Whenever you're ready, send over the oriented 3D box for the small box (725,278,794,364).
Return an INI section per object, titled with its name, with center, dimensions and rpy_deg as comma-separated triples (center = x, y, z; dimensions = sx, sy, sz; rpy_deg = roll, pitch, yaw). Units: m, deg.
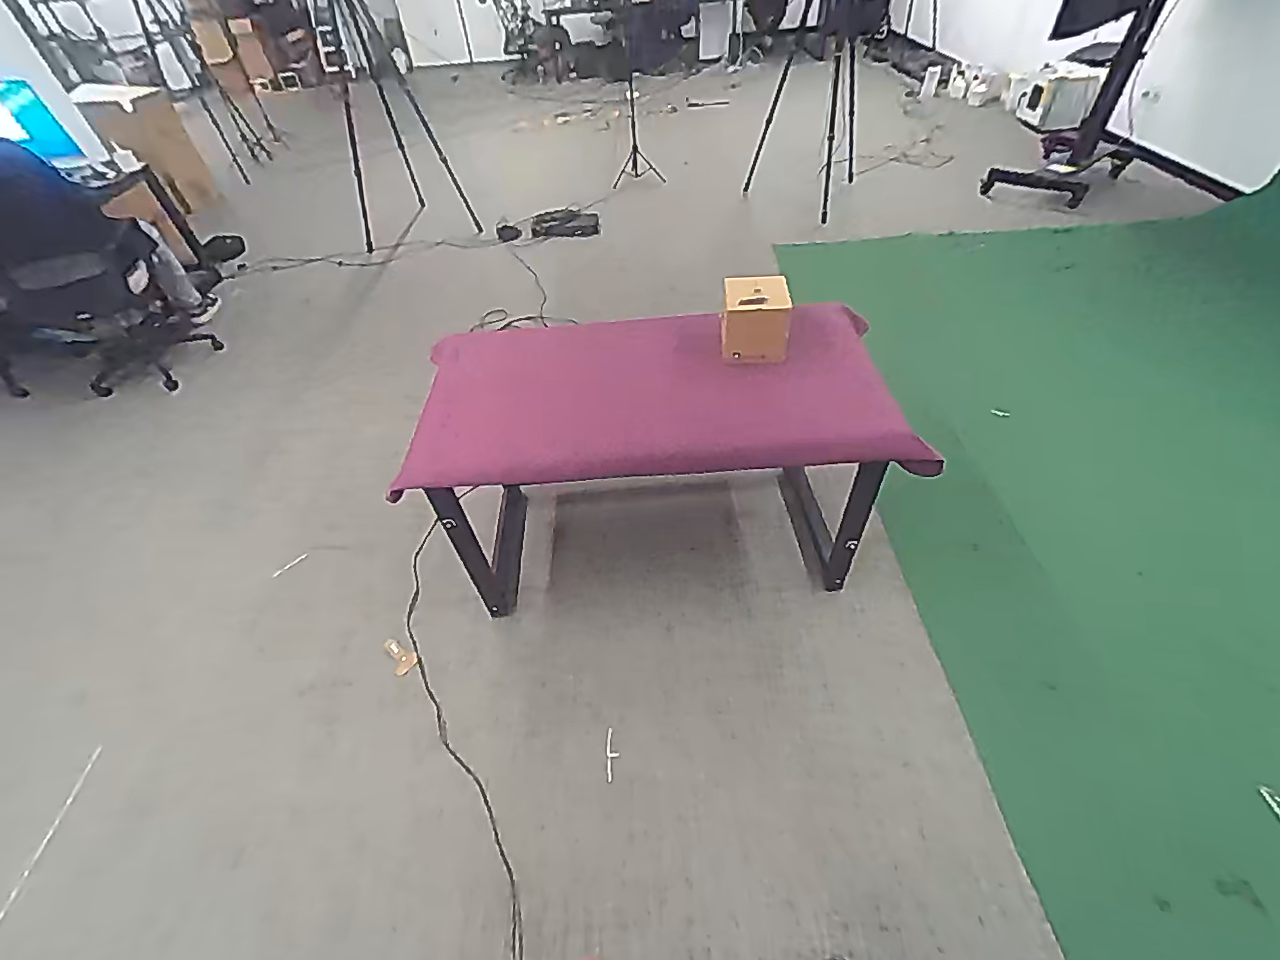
[small box]
center = 0.323, -0.432, 1.486
dimensions = 0.168, 0.176, 0.179
rpy_deg = 0, 47, 6
